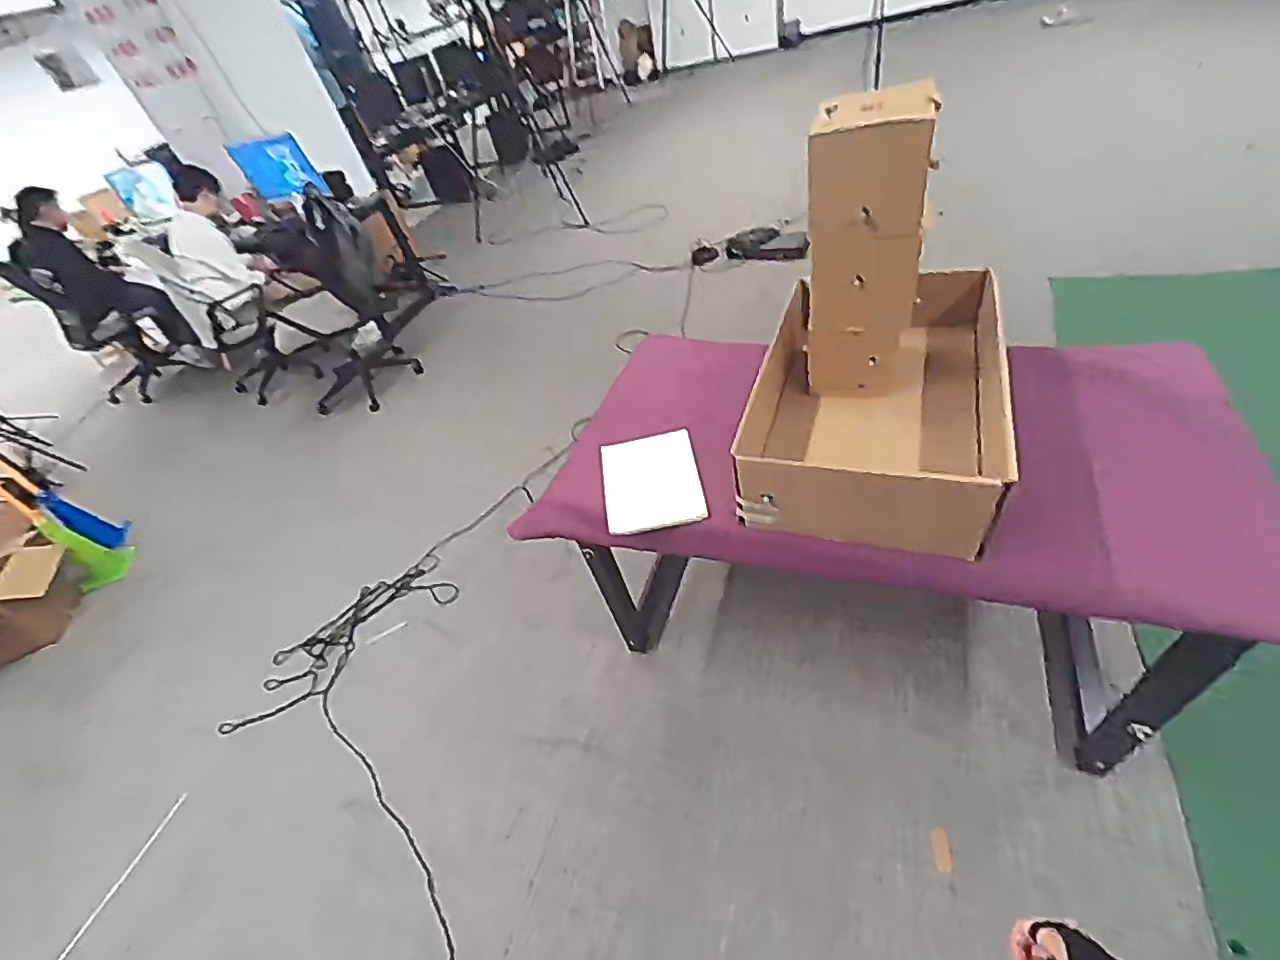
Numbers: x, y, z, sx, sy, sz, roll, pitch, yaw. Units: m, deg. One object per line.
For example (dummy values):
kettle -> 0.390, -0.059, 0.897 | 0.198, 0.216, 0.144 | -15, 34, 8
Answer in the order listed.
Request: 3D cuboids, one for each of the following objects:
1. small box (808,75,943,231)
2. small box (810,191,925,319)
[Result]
small box -> 0.377, -0.525, 0.880 | 0.179, 0.176, 0.168 | 8, 50, 22
small box -> 0.413, -0.411, 0.993 | 0.179, 0.176, 0.168 | 5, 49, 22
